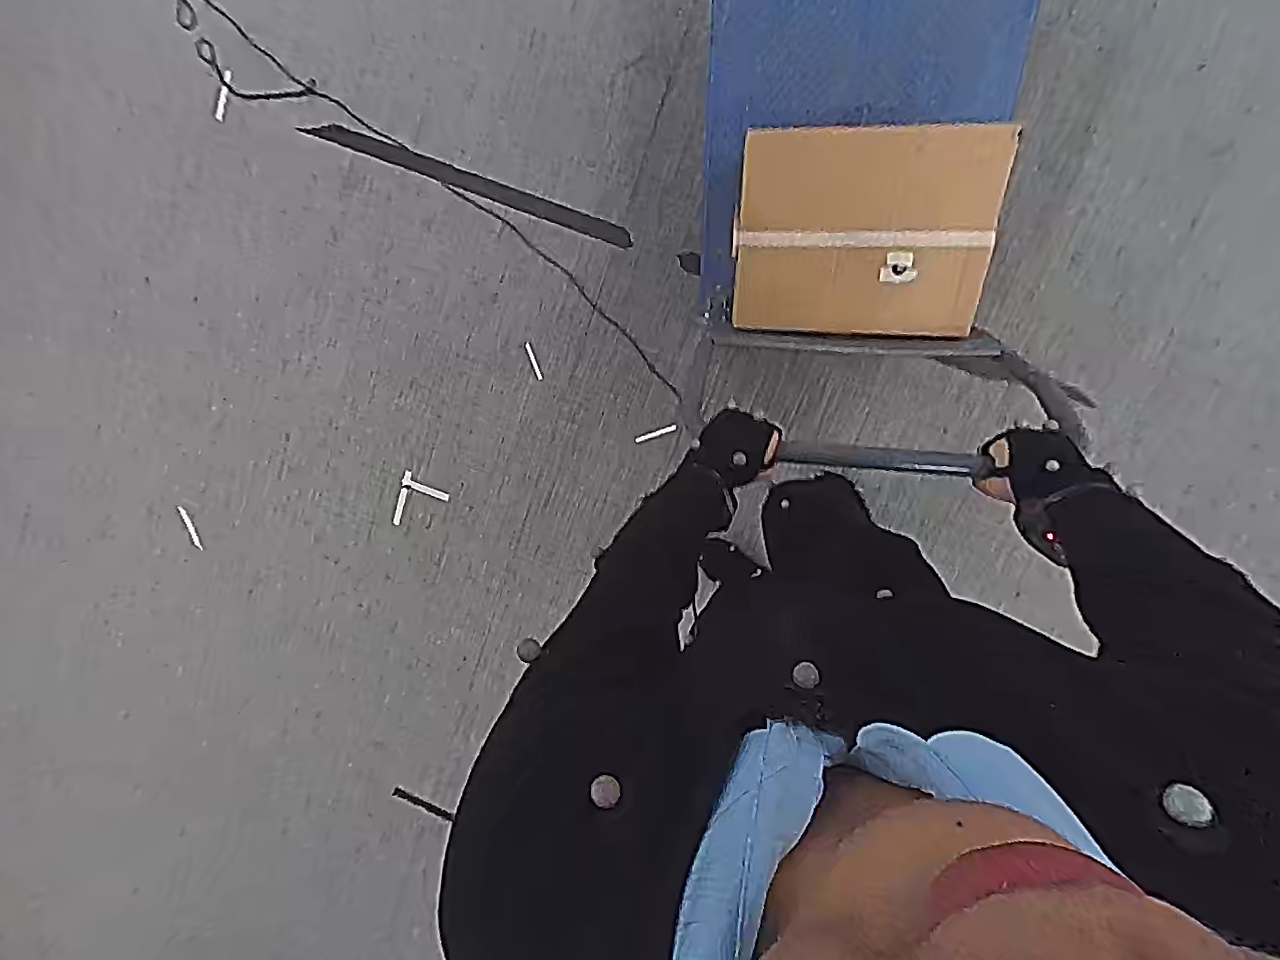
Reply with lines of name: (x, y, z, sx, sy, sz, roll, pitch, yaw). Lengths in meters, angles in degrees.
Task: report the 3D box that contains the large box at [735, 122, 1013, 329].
large box: (0.396, -0.479, 1.045, 0.408, 0.320, 0.320, 5, 117, 9)
